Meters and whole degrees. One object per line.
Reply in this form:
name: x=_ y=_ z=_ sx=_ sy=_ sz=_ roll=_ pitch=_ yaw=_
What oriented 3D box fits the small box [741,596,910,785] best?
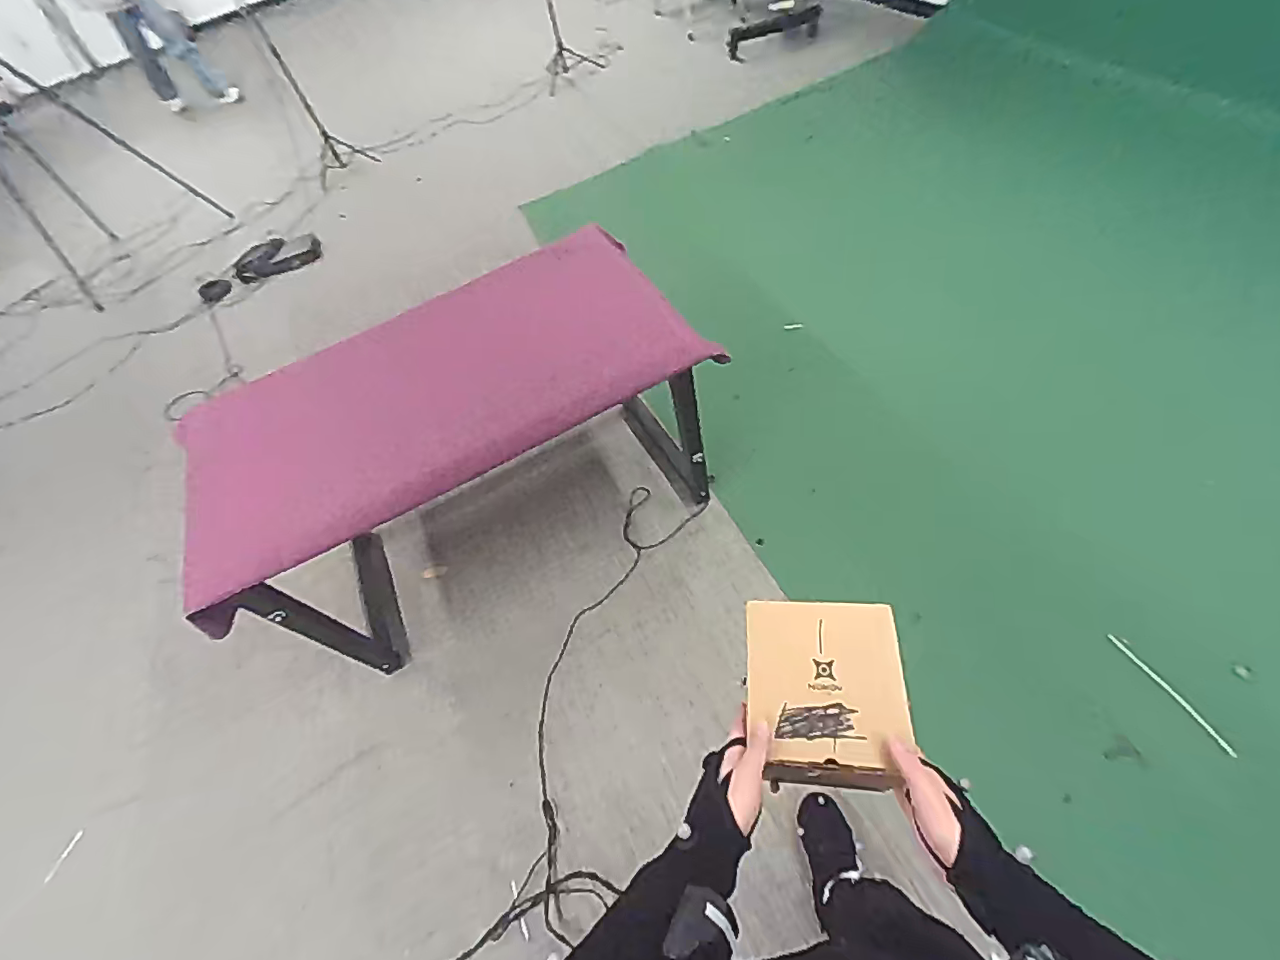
small box: x=0.208 y=0.257 z=0.654 sx=0.168 sy=0.176 sz=0.179 roll=0 pitch=54 yaw=11
